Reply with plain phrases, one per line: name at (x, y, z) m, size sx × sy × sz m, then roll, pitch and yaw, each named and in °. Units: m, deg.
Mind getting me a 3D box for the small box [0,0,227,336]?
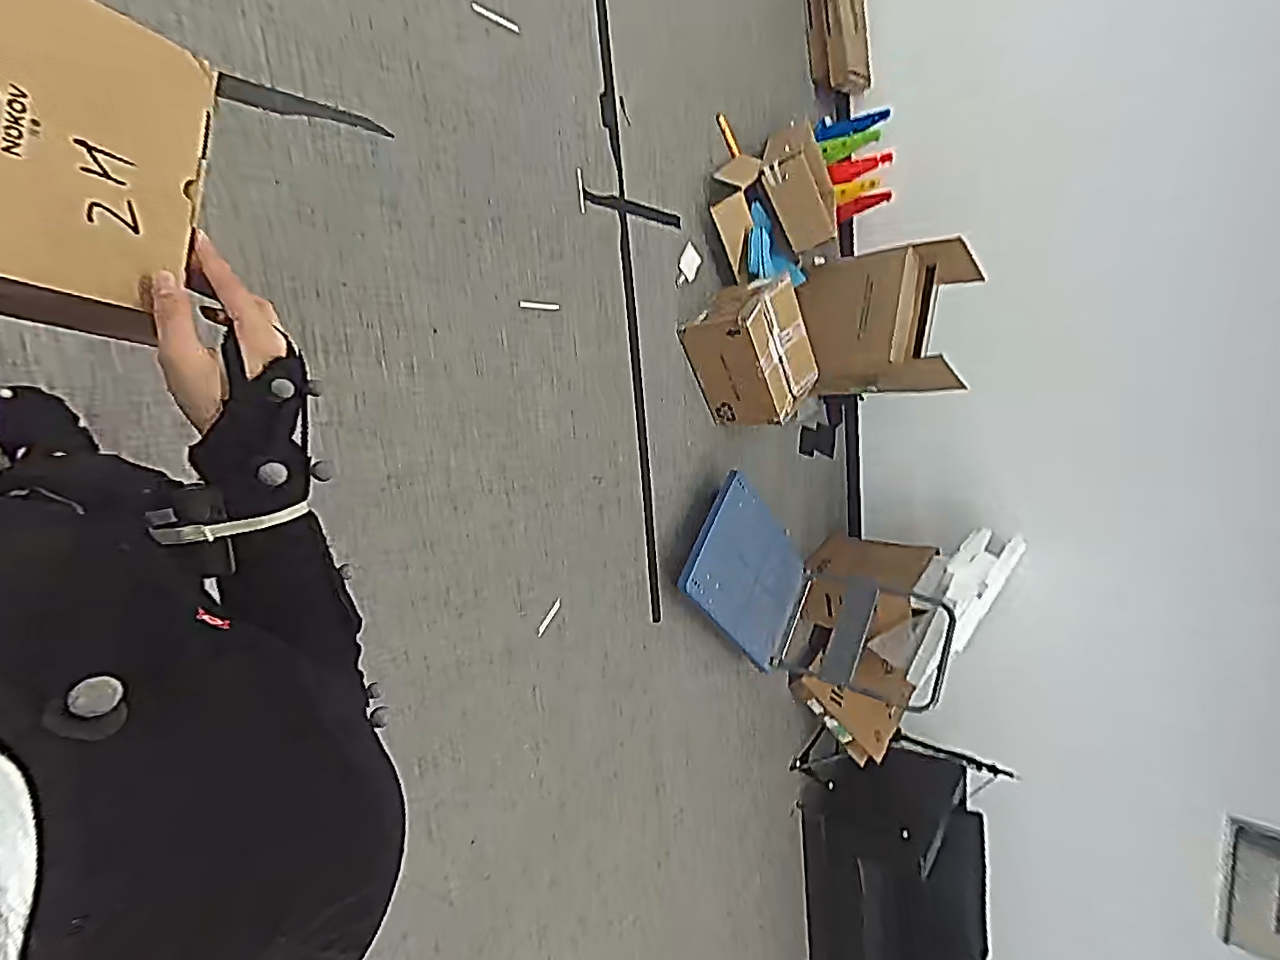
small box at (-0.390, -0.196, 0.335) m, size 0.179 × 0.176 × 0.168 m, roll 8°, pitch 89°, yaw -47°
